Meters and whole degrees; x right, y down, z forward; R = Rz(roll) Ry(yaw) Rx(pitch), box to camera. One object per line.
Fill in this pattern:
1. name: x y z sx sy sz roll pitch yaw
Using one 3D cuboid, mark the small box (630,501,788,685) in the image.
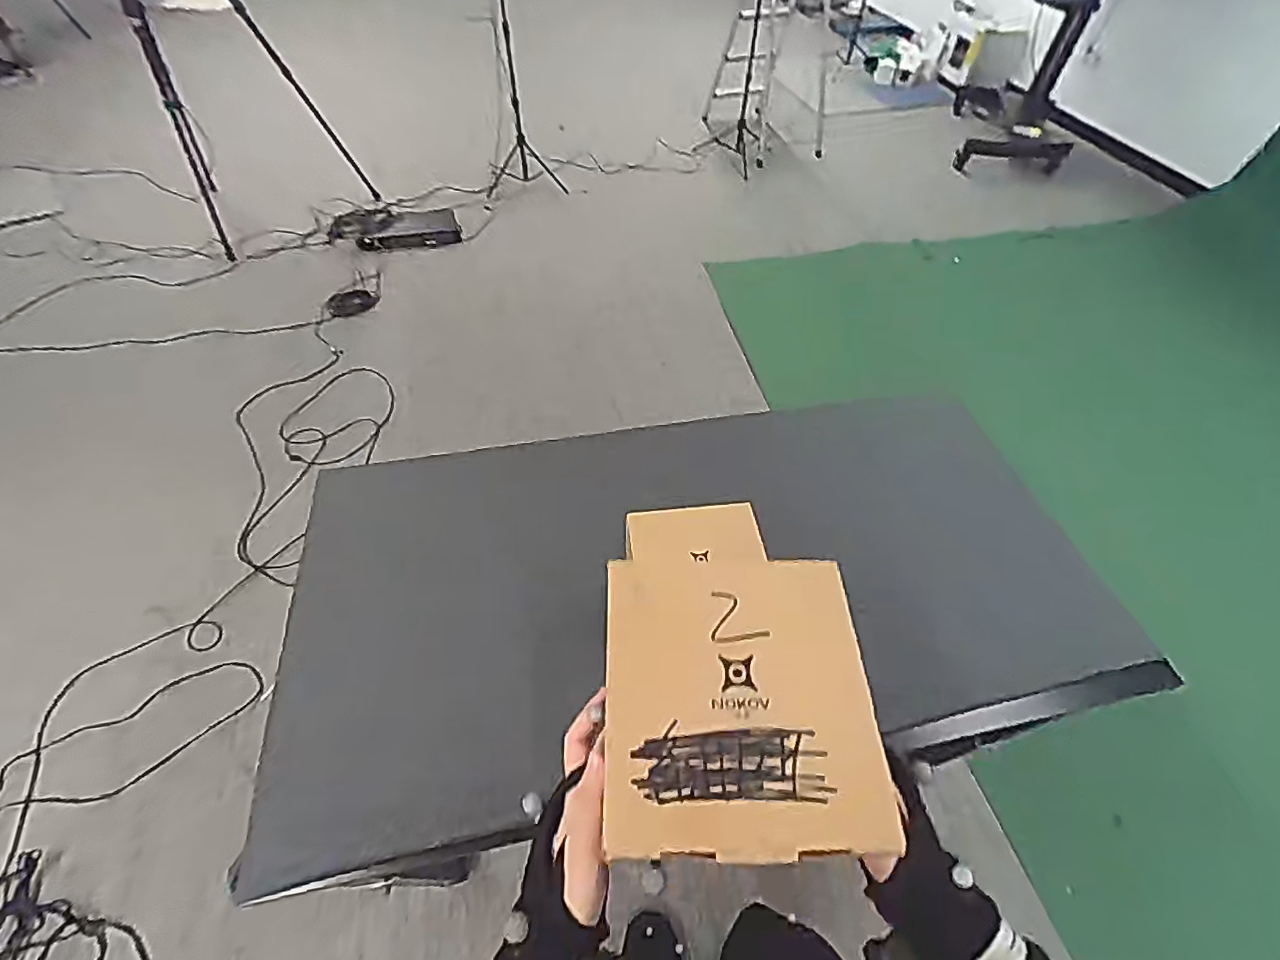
1. small box: 0.076 0.150 0.716 0.168 0.176 0.179 -6 53 -5
